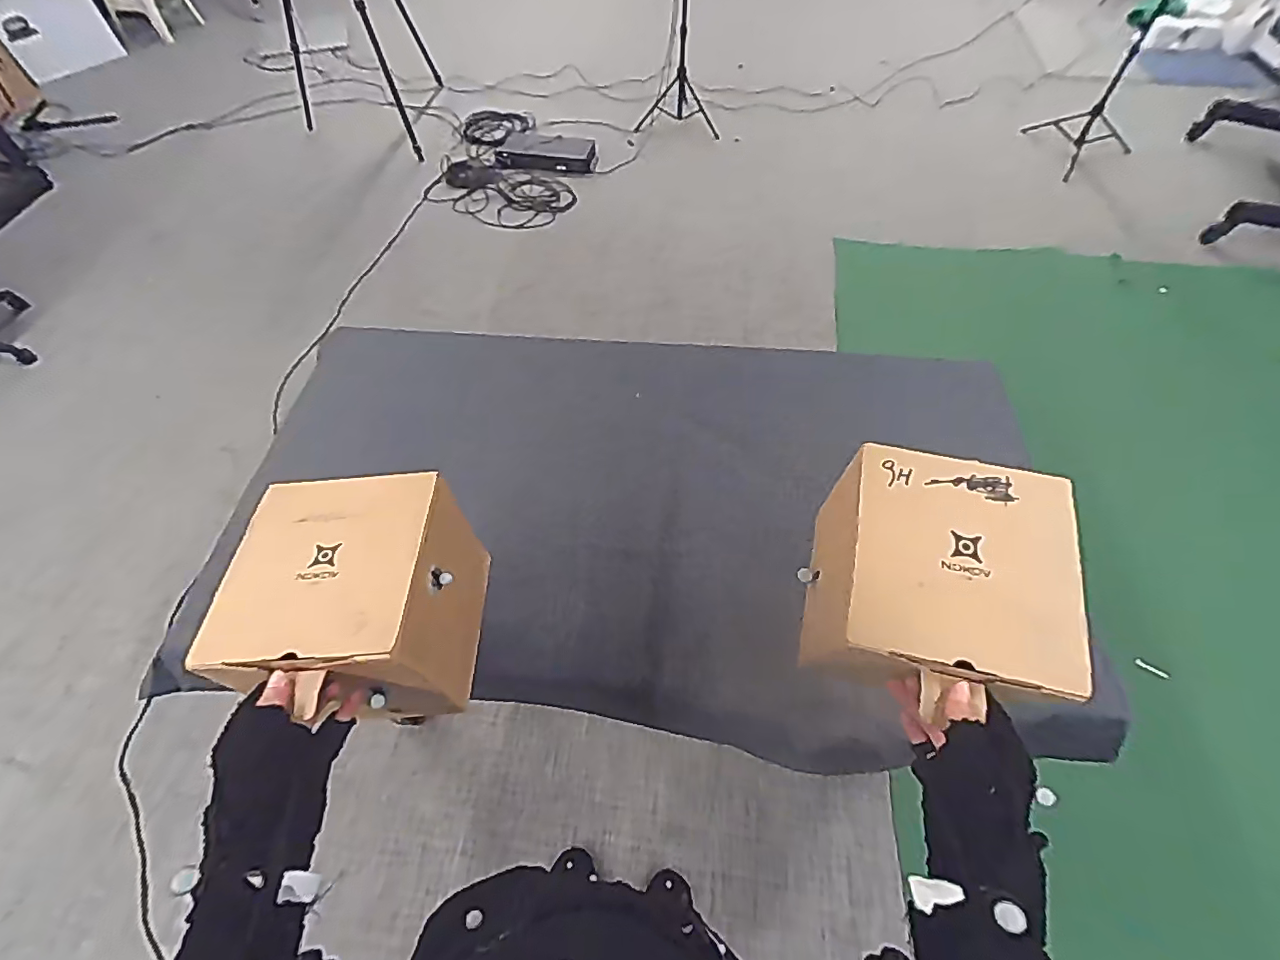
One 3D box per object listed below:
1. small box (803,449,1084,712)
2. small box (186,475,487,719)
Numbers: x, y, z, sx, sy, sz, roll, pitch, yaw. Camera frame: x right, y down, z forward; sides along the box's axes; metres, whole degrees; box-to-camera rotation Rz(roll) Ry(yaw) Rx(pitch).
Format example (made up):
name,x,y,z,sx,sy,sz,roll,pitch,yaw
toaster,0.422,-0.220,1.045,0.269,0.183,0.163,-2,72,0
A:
name,x,y,z,sx,sy,sz,roll,pitch,yaw
small box,0.253,0.099,0.488,0.168,0.176,0.179,12,67,8
small box,-0.257,0.118,0.515,0.168,0.176,0.179,-4,52,2
